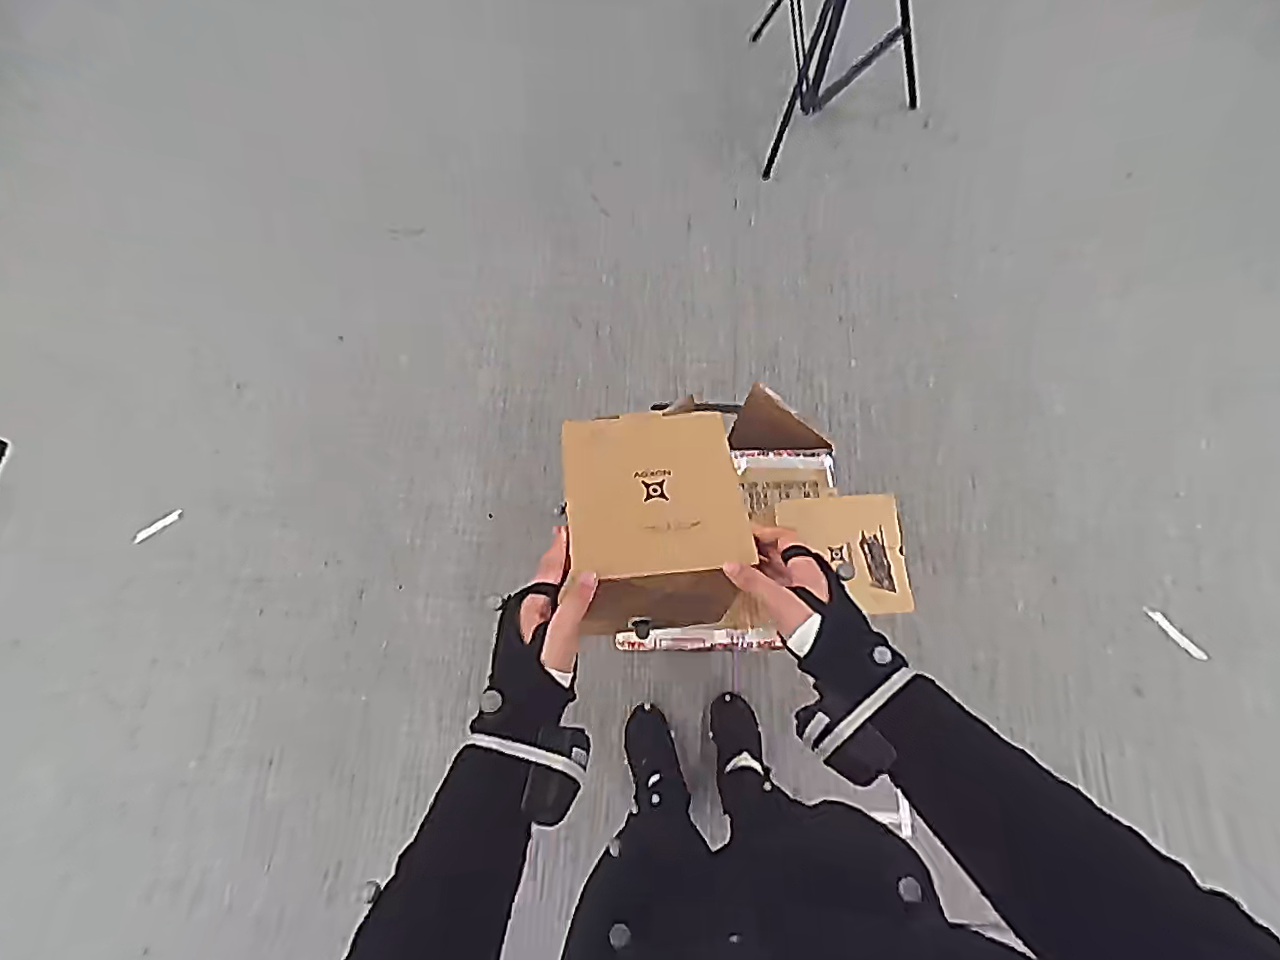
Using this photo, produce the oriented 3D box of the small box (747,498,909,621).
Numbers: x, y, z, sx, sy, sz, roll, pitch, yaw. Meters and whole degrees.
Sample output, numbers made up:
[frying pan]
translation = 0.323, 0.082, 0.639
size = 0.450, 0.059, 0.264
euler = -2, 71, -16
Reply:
[small box]
translation = 0.273, 0.125, 0.825
size = 0.179, 0.176, 0.168
euler = -3, 76, -1
